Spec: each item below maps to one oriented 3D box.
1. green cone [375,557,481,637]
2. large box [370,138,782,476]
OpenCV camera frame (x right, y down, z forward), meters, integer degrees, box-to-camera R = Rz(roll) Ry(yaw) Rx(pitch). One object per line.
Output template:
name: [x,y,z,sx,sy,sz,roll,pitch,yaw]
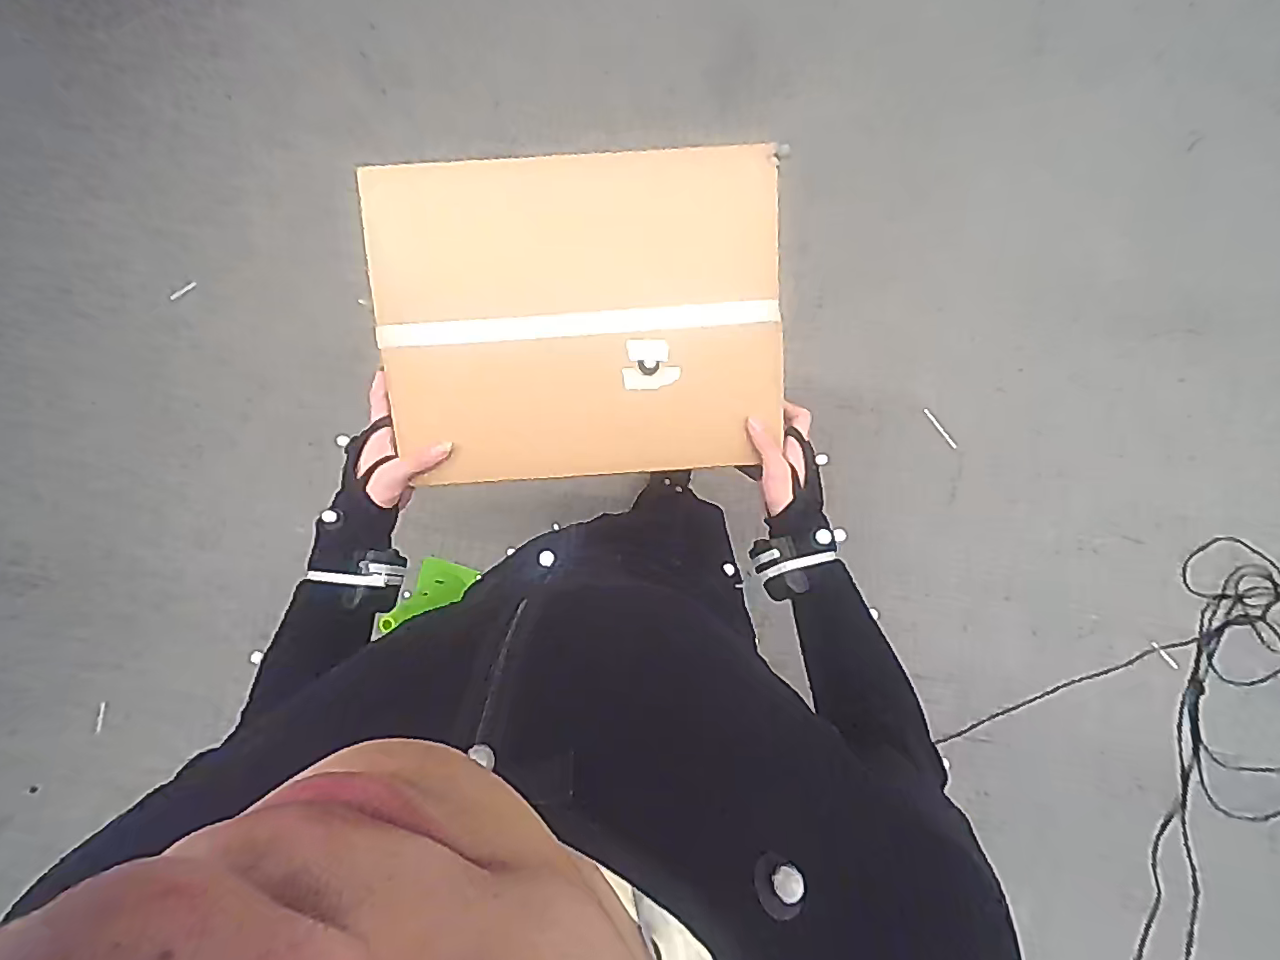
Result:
green cone: [-0.618,0.355,1.496,0.200,0.368,0.202,15,92,4]
large box: [-0.062,-0.196,0.700,0.408,0.320,0.320,-4,101,-1]
